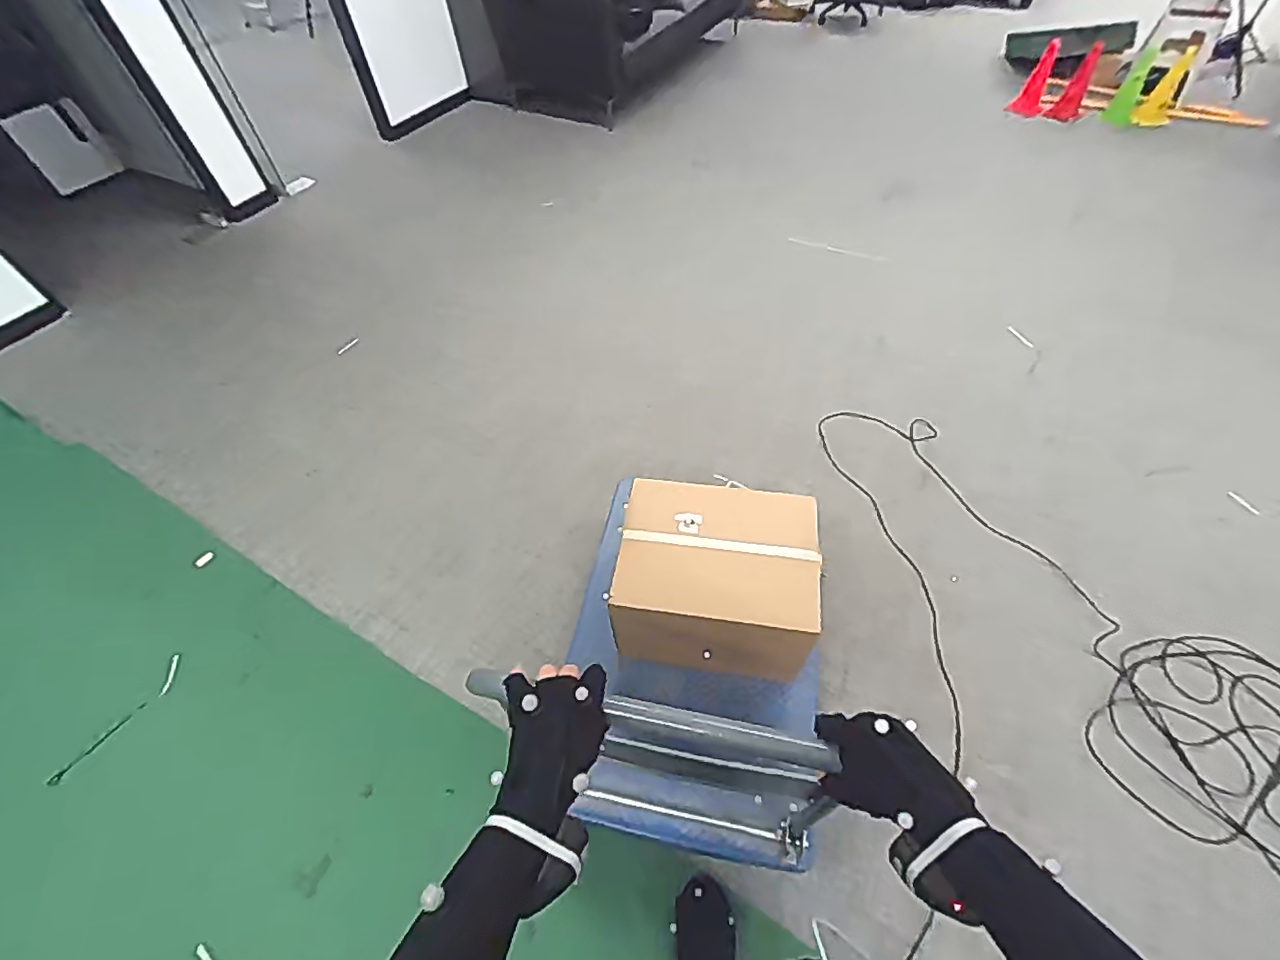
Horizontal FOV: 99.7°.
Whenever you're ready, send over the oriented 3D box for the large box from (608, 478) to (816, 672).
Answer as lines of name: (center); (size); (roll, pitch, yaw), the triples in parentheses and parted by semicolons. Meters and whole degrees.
large box: (0.164, 0.221, 1.235); (0.408, 0.320, 0.320); (6, 53, 8)
